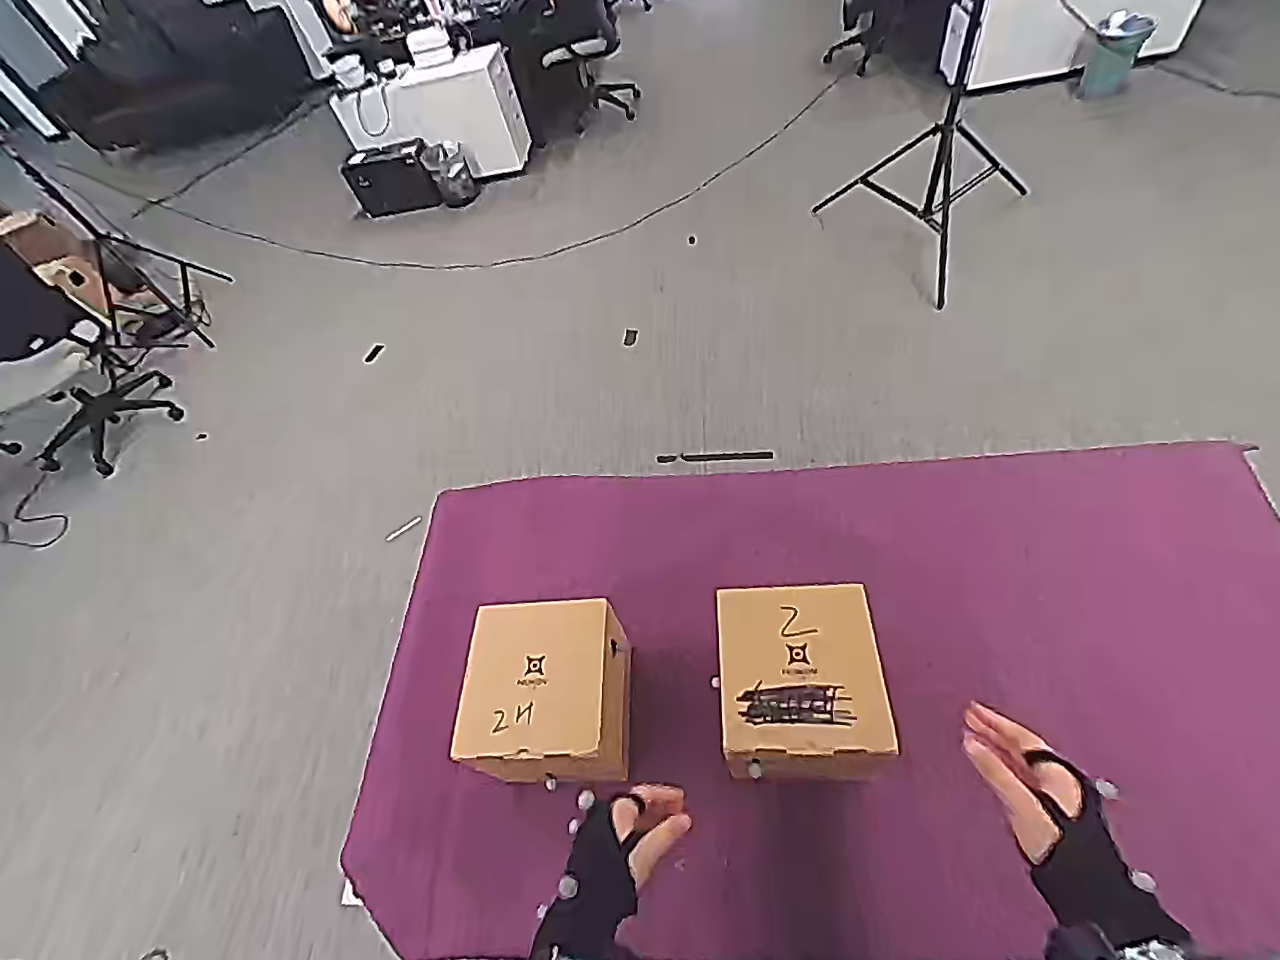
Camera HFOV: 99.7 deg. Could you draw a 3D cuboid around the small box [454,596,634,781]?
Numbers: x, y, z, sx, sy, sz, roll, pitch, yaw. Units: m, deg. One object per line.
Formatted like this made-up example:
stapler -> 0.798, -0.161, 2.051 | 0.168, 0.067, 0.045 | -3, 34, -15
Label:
small box -> -0.103, 0.263, 0.673 | 0.168, 0.176, 0.179 | -5, 53, 8
